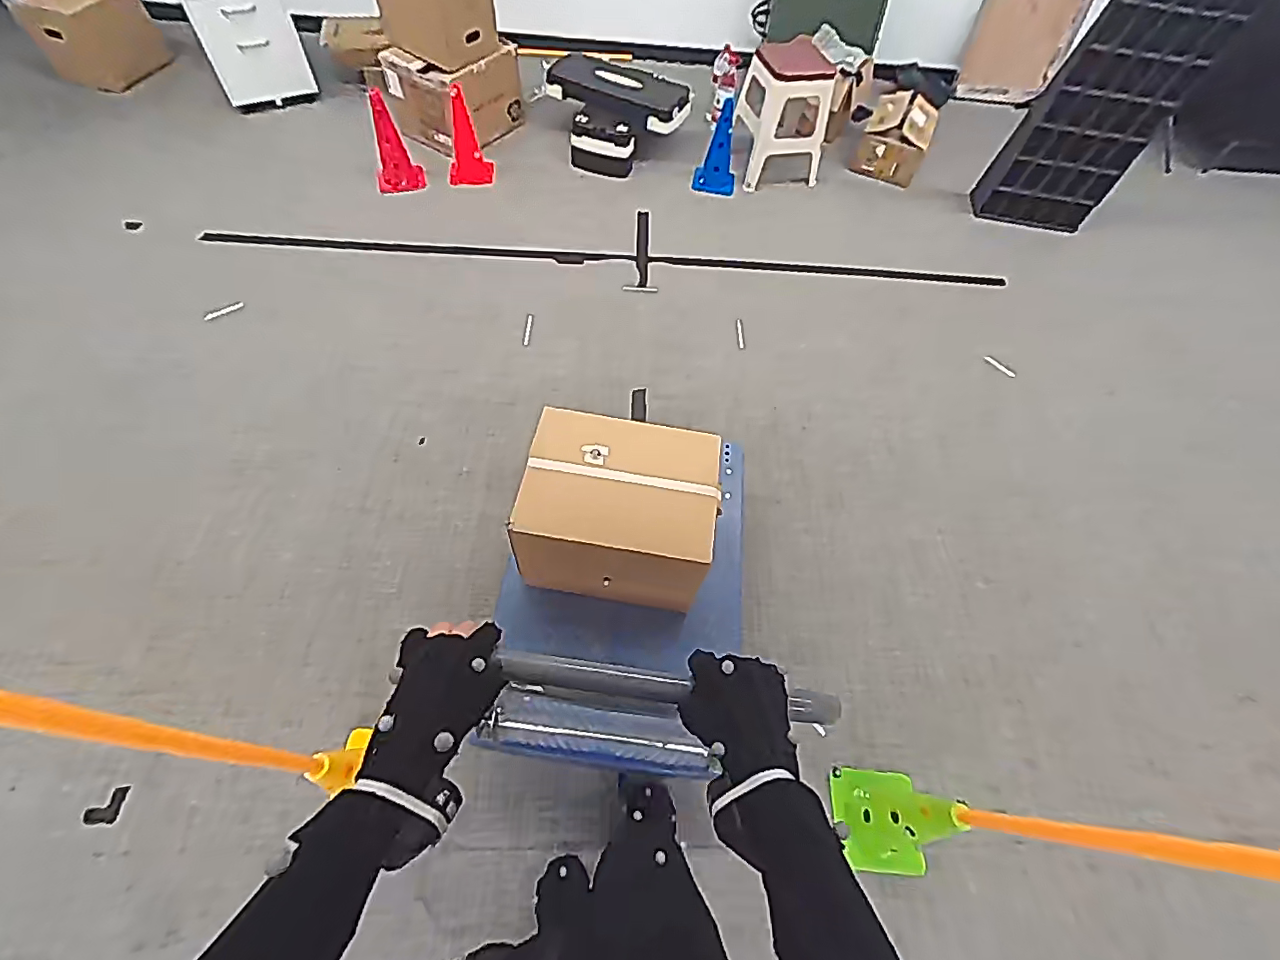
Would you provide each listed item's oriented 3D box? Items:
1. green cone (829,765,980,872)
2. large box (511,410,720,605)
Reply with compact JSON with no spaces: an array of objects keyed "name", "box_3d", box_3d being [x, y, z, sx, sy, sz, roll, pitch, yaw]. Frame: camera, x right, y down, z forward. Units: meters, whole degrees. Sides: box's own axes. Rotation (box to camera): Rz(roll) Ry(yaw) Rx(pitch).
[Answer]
[{"name":"green cone","box_3d":[0.559,0.689,1.104,0.202,0.368,0.200,7,58,-2]},{"name":"large box","box_3d":[-0.045,0.076,1.260,0.408,0.320,0.320,10,58,1]}]
